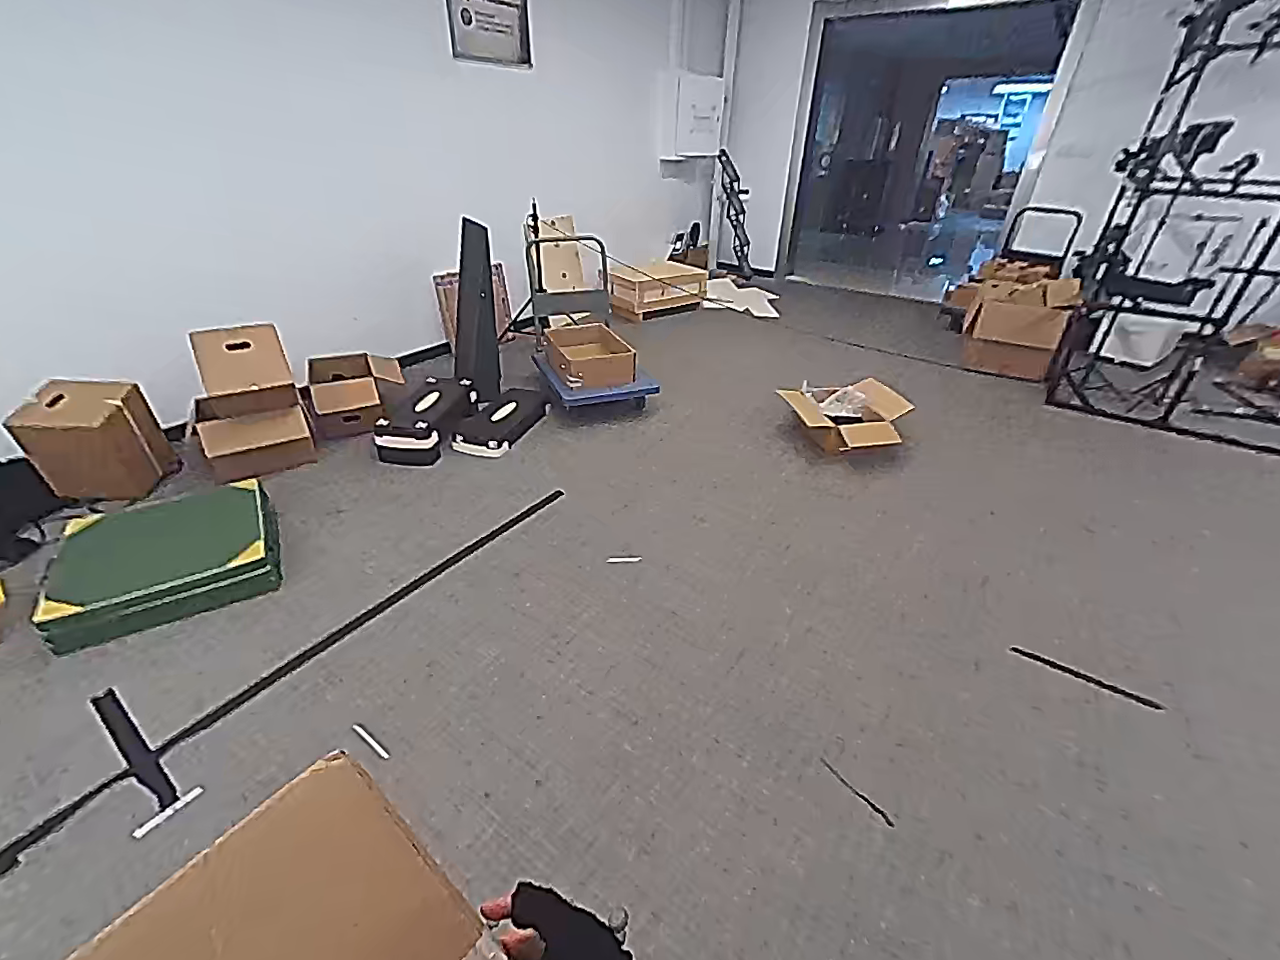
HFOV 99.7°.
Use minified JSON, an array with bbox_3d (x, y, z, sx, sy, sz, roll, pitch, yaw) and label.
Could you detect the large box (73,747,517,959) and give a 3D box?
[{"bbox_3d":[-0.268,0.460,0.335,0.320,0.320,0.408,46,53,10],"label":"large box"}]
